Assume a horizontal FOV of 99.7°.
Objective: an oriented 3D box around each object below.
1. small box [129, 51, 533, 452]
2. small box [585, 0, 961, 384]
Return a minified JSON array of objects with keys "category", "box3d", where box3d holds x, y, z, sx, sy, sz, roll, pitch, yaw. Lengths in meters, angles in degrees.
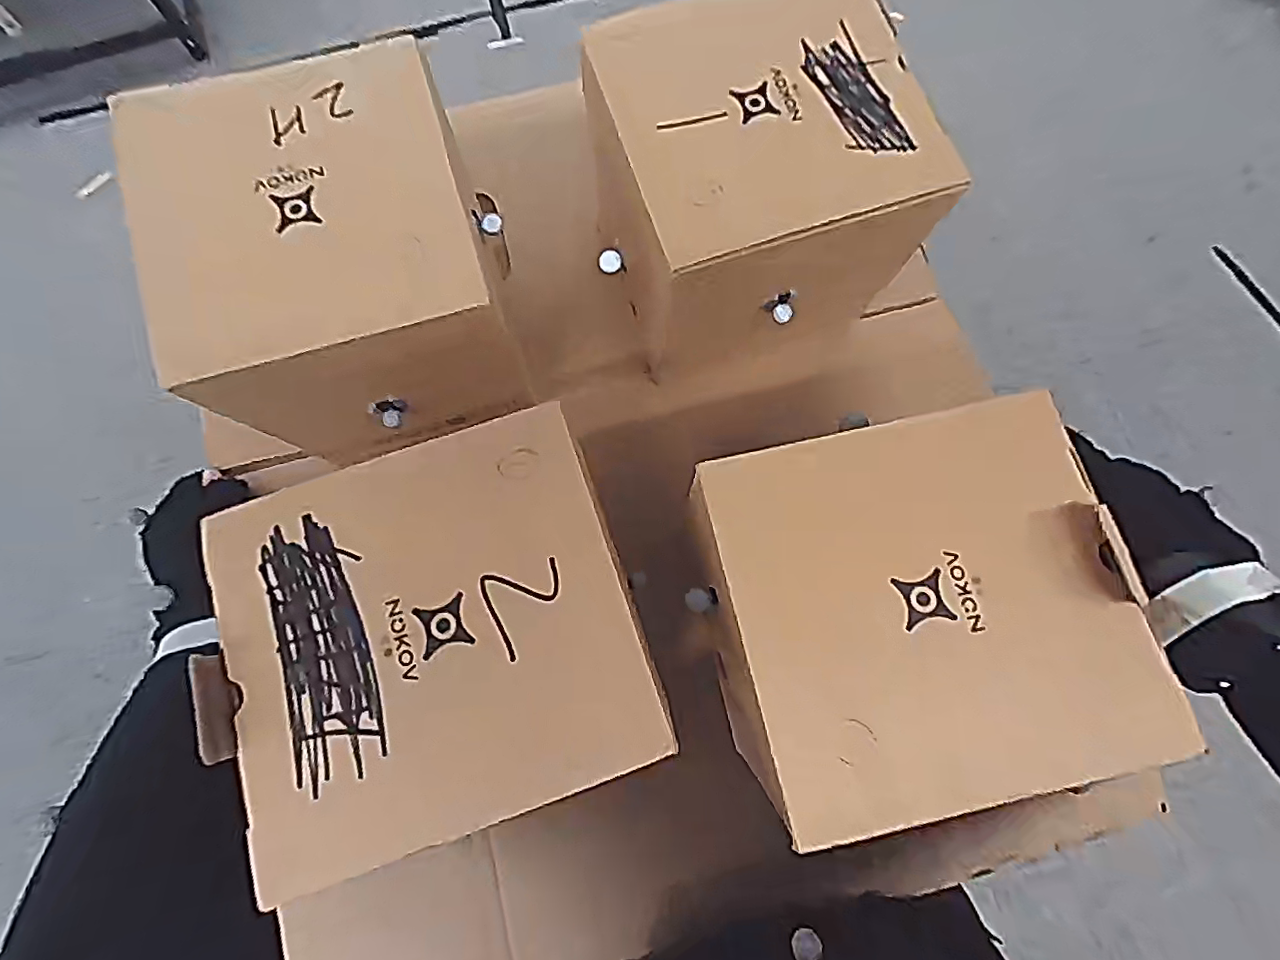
[{"category":"small box","box3d":[-0.180,-0.127,0.367,0.168,0.176,0.179,-16,80,-5]},{"category":"small box","box3d":[0.071,-0.189,0.382,0.179,0.176,0.168,-17,80,-3]}]
